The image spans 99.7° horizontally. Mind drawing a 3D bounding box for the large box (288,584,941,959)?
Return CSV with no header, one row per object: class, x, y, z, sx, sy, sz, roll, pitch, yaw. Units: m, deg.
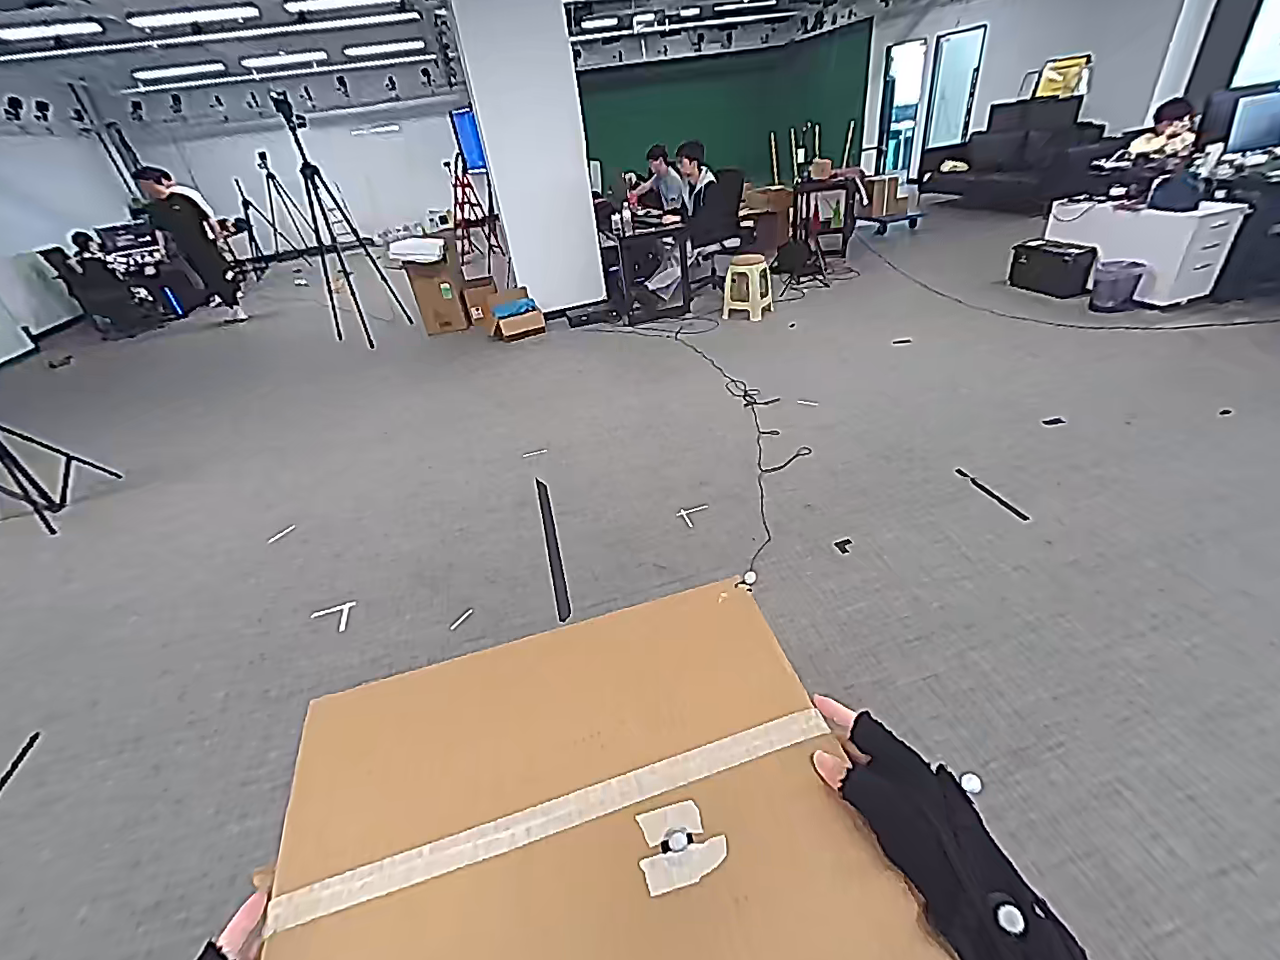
large box,-0.036,0.358,0.498,0.408,0.320,0.320,-14,42,-10
